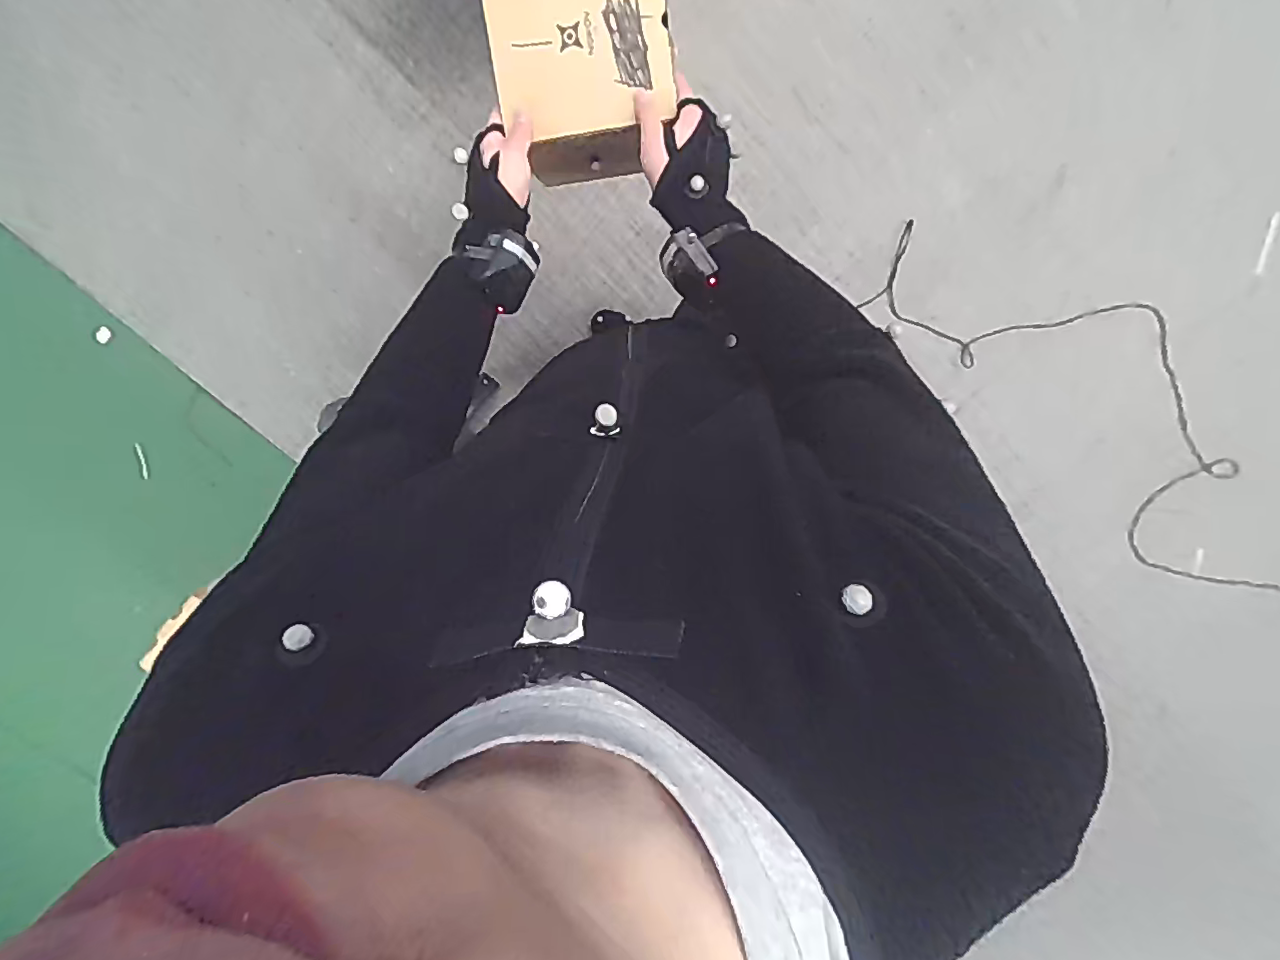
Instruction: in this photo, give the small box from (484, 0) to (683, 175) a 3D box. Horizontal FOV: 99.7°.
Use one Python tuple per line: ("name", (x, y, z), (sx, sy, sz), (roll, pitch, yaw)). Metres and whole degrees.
("small box", (-0.050, -0.440, 0.569), (0.179, 0.176, 0.168), (-5, 105, 5))
